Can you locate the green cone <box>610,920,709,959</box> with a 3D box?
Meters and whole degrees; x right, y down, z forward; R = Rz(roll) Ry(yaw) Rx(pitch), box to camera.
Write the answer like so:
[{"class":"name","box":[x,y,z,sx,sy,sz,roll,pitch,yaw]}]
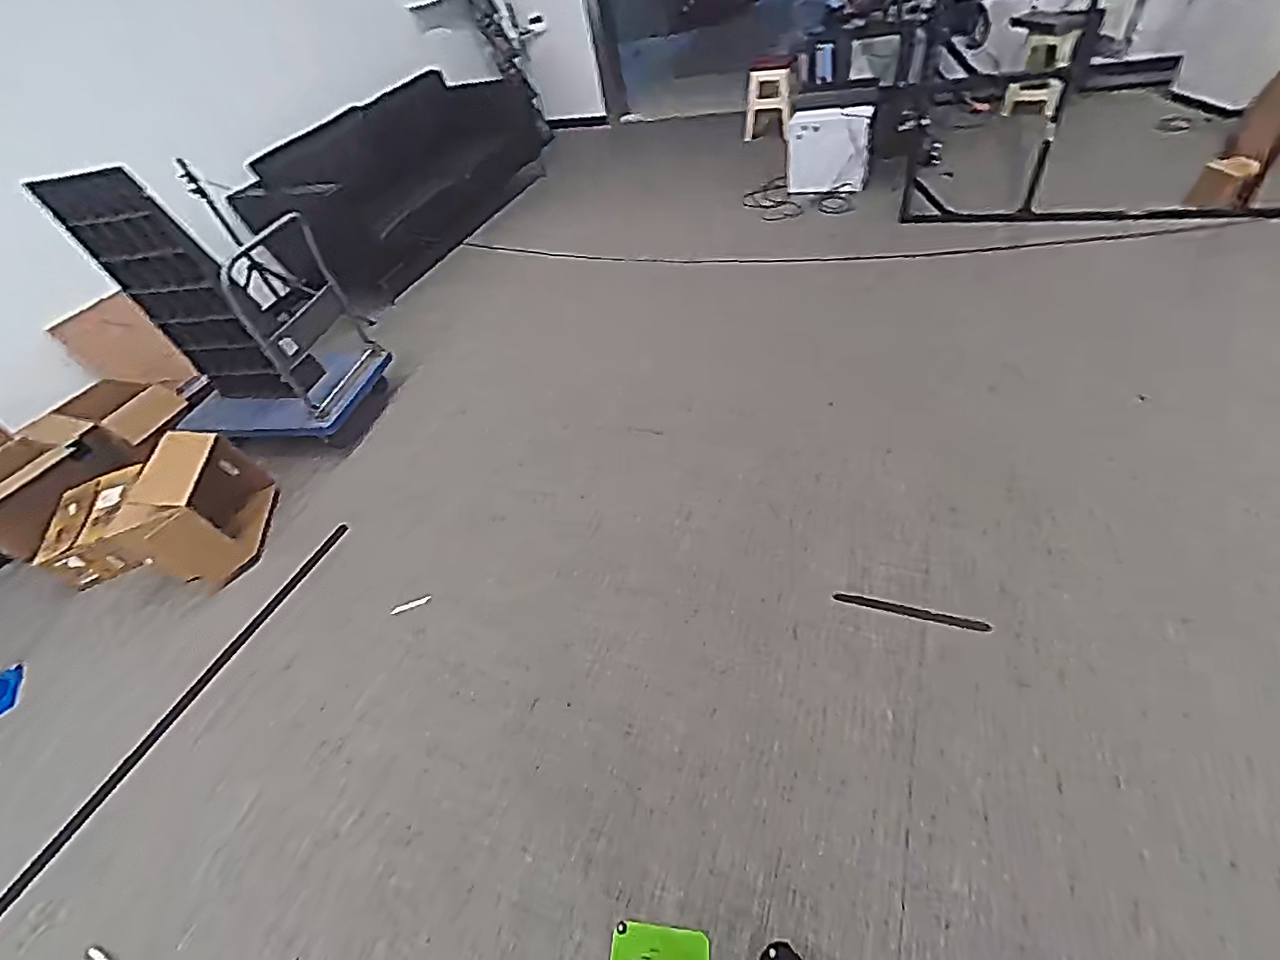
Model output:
[{"class":"green cone","box":[0.005,0.879,0.928,0.202,0.368,0.200,-1,48,11]}]
